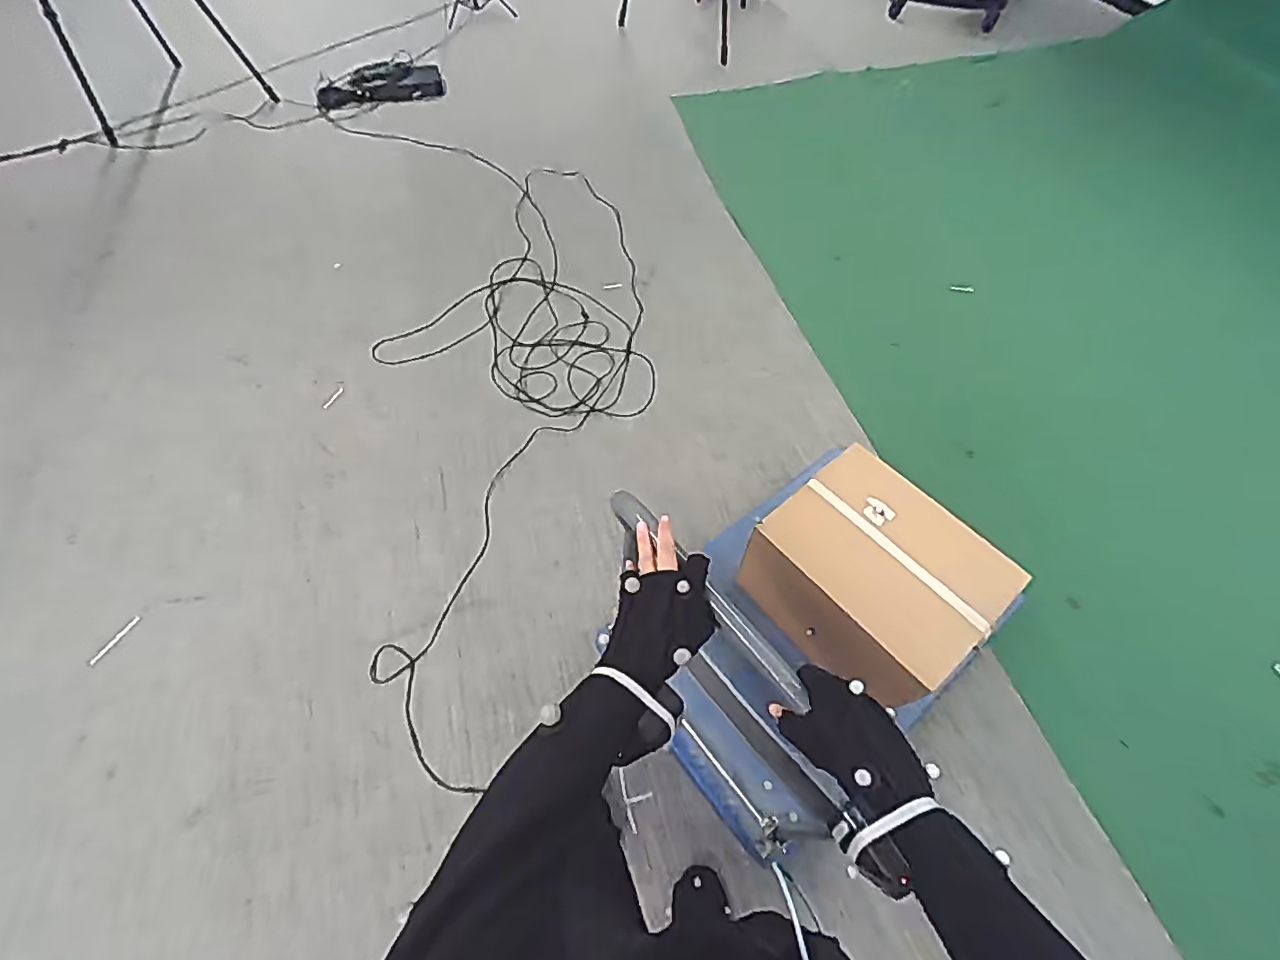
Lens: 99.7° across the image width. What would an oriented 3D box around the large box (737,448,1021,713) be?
[{"bbox_3d":[0.469,0.217,1.158,0.320,0.320,0.408,-36,64,-19],"label":"large box"}]
